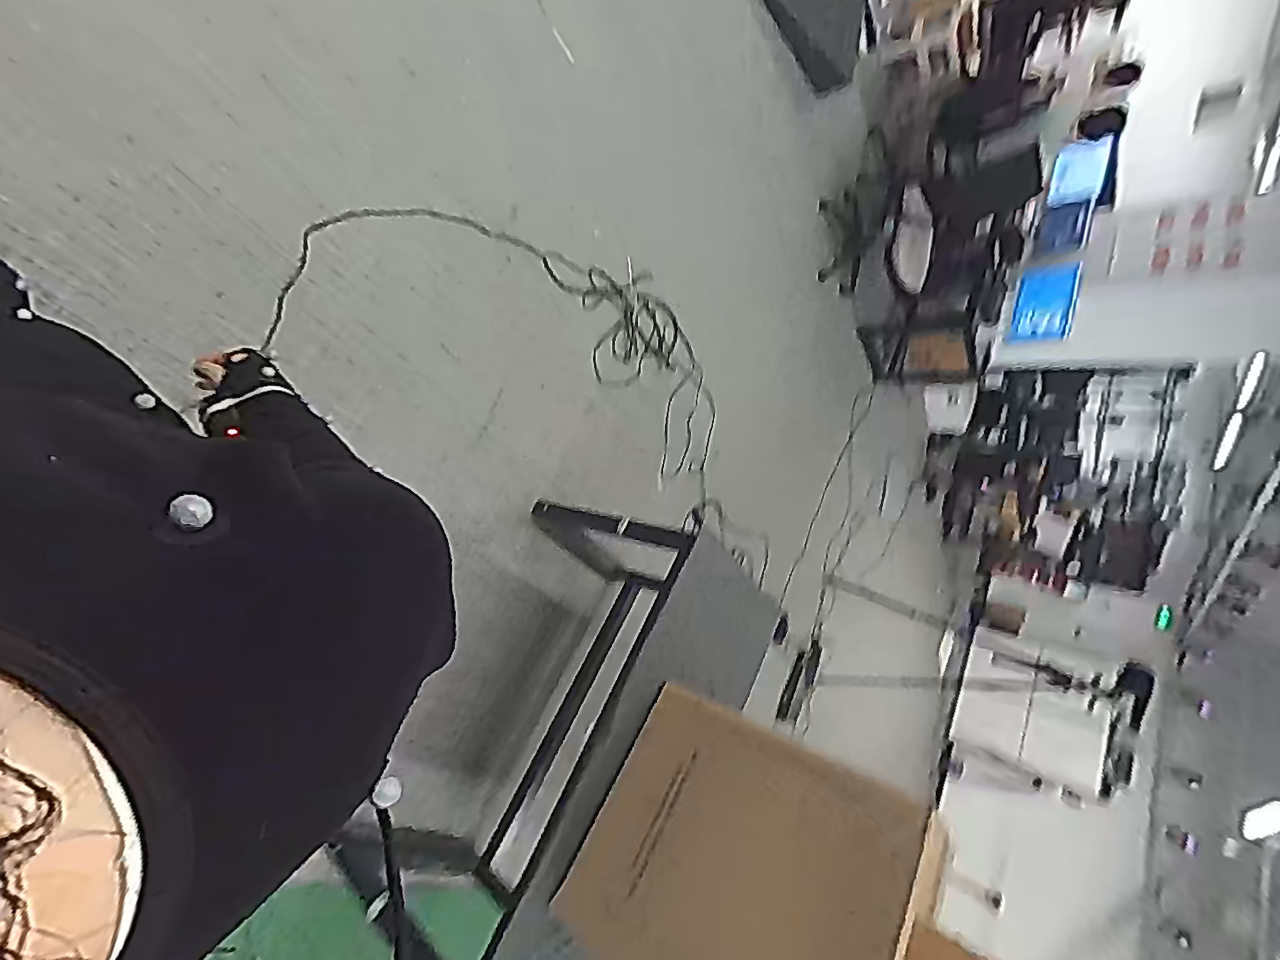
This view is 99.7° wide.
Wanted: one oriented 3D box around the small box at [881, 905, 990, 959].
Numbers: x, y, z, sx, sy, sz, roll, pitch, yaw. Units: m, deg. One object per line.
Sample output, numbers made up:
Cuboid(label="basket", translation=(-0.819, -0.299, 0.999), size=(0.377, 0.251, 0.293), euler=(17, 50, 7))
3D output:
Cuboid(label="small box", translation=(0.498, 0.865, 0.899), size=(0.179, 0.176, 0.168), euler=(-57, 132, -26))
